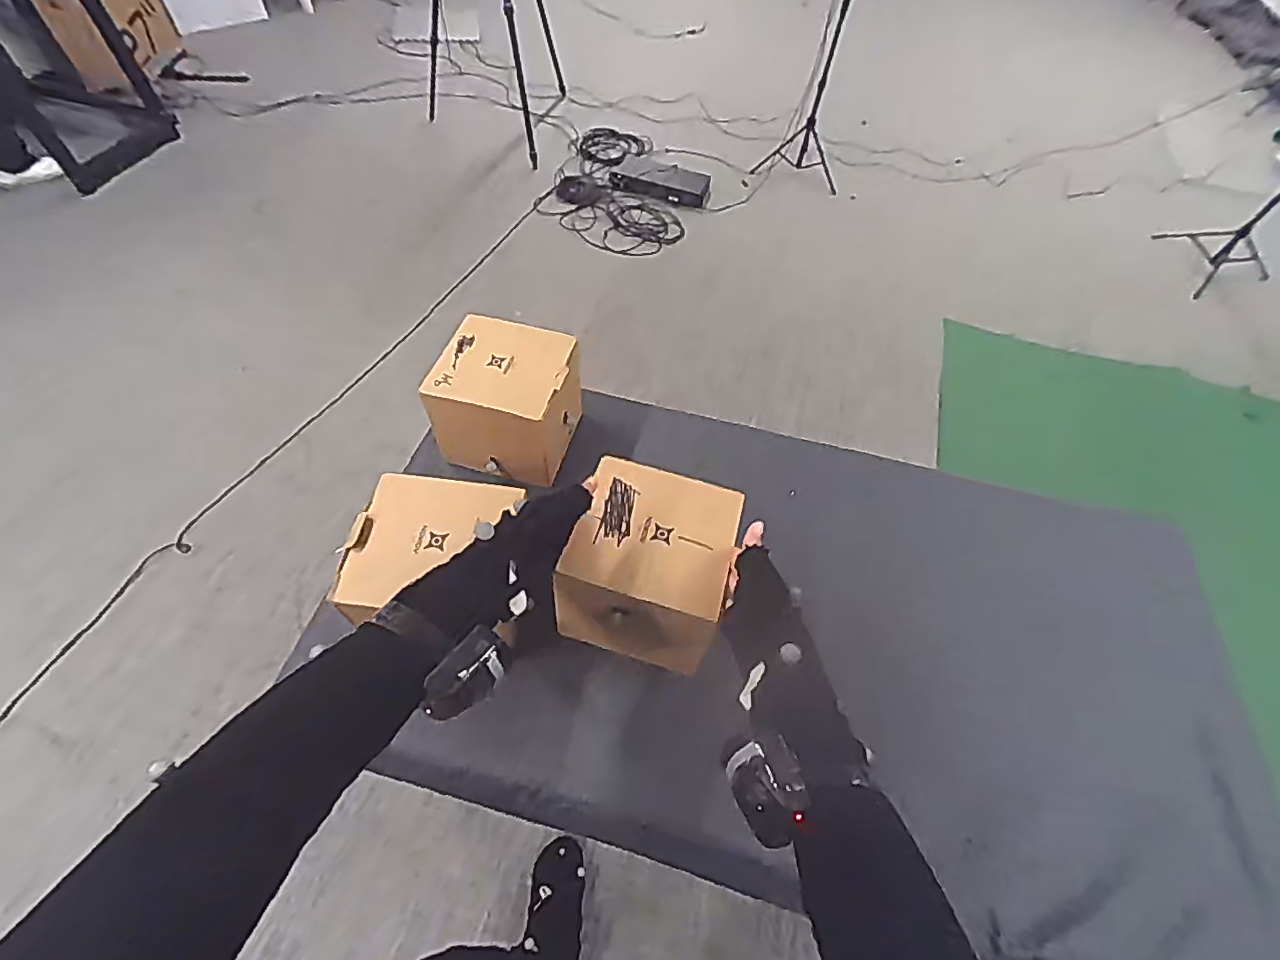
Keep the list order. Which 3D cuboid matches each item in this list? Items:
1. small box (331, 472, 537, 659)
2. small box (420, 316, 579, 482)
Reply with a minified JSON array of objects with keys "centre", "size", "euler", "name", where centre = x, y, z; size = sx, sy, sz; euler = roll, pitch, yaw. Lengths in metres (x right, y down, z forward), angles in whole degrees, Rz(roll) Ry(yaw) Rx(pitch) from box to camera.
[{"centre":[-0.235,0.112,0.671],"size":[0.179,0.176,0.168],"euler":[7,56,-1],"name":"small box"},{"centre":[-0.198,-0.117,0.827],"size":[0.179,0.176,0.168],"euler":[14,57,4],"name":"small box"}]
